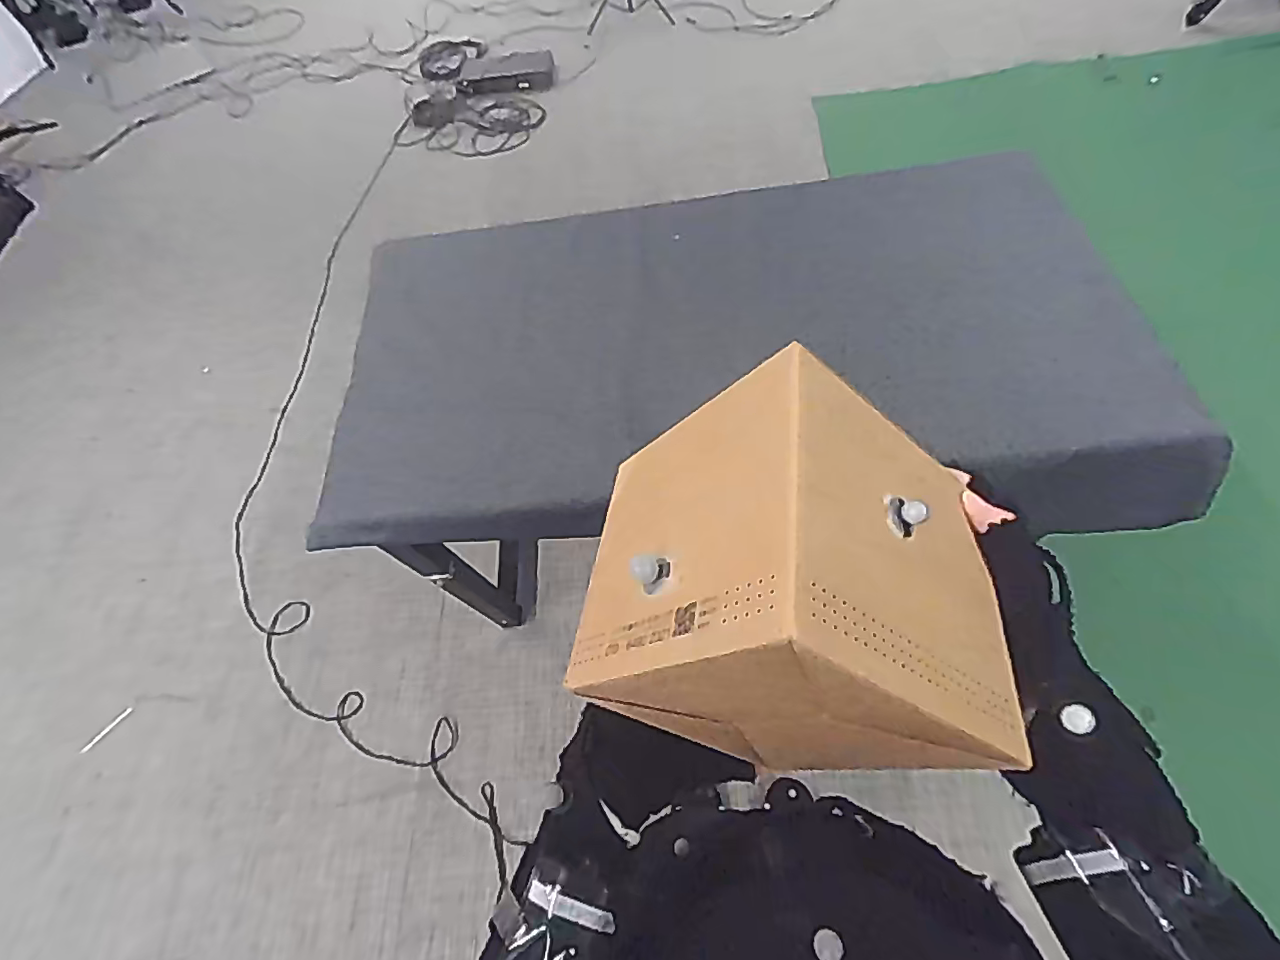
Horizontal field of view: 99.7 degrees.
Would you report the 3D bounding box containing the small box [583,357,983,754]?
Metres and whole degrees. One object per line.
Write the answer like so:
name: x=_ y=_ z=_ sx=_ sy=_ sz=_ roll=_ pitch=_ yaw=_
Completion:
small box: x=0.088 y=0.065 z=0.346 sx=0.179 sy=0.168 sz=0.176 roll=30 pitch=50 yaw=-24
